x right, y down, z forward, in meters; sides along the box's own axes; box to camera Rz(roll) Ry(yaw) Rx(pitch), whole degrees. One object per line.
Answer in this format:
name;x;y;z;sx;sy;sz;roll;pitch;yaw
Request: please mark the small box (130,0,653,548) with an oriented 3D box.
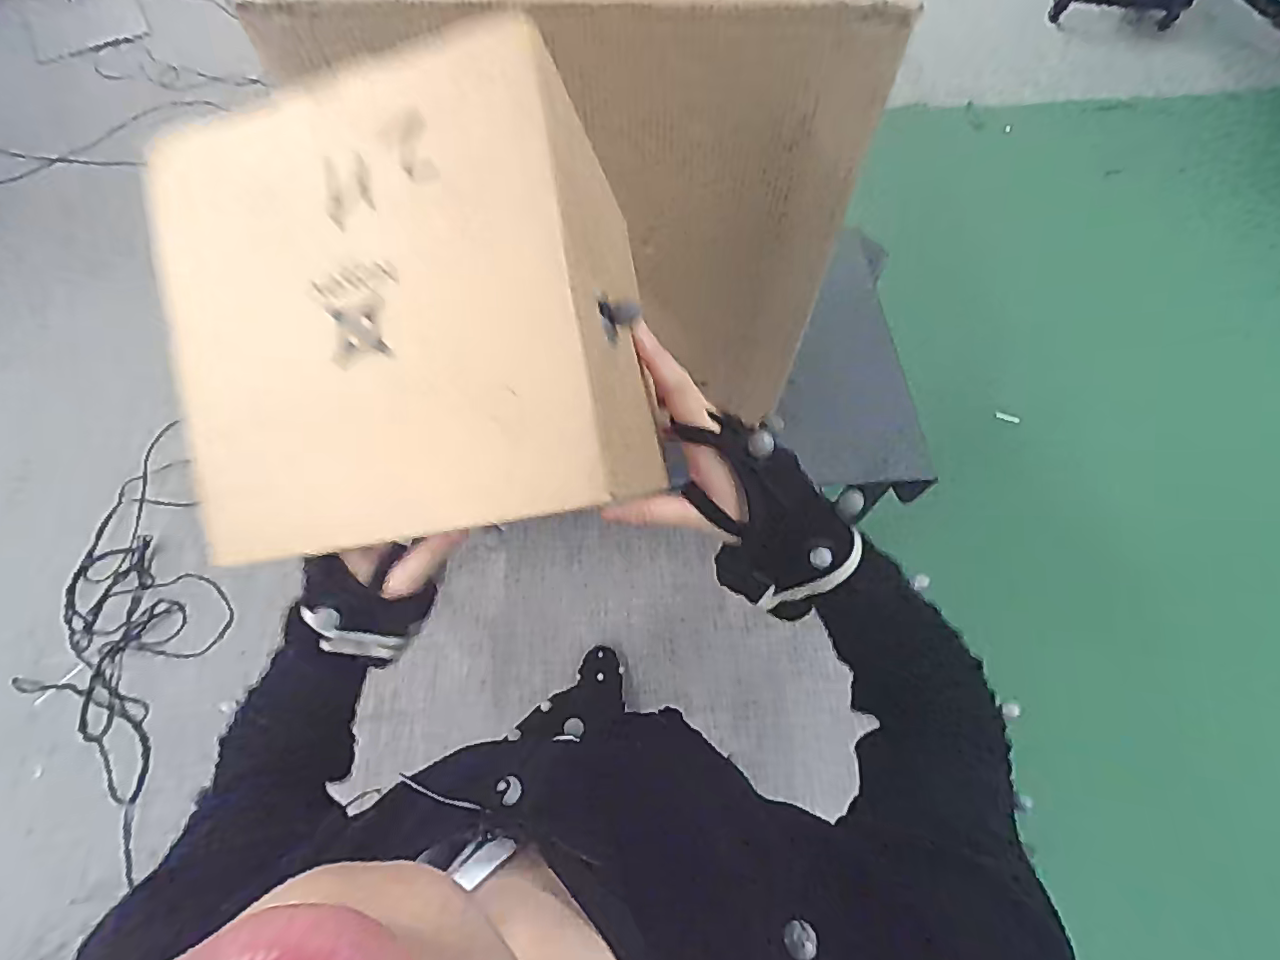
small box;-0.094;-0.073;0.279;0.168;0.176;0.179;-9;90;10
